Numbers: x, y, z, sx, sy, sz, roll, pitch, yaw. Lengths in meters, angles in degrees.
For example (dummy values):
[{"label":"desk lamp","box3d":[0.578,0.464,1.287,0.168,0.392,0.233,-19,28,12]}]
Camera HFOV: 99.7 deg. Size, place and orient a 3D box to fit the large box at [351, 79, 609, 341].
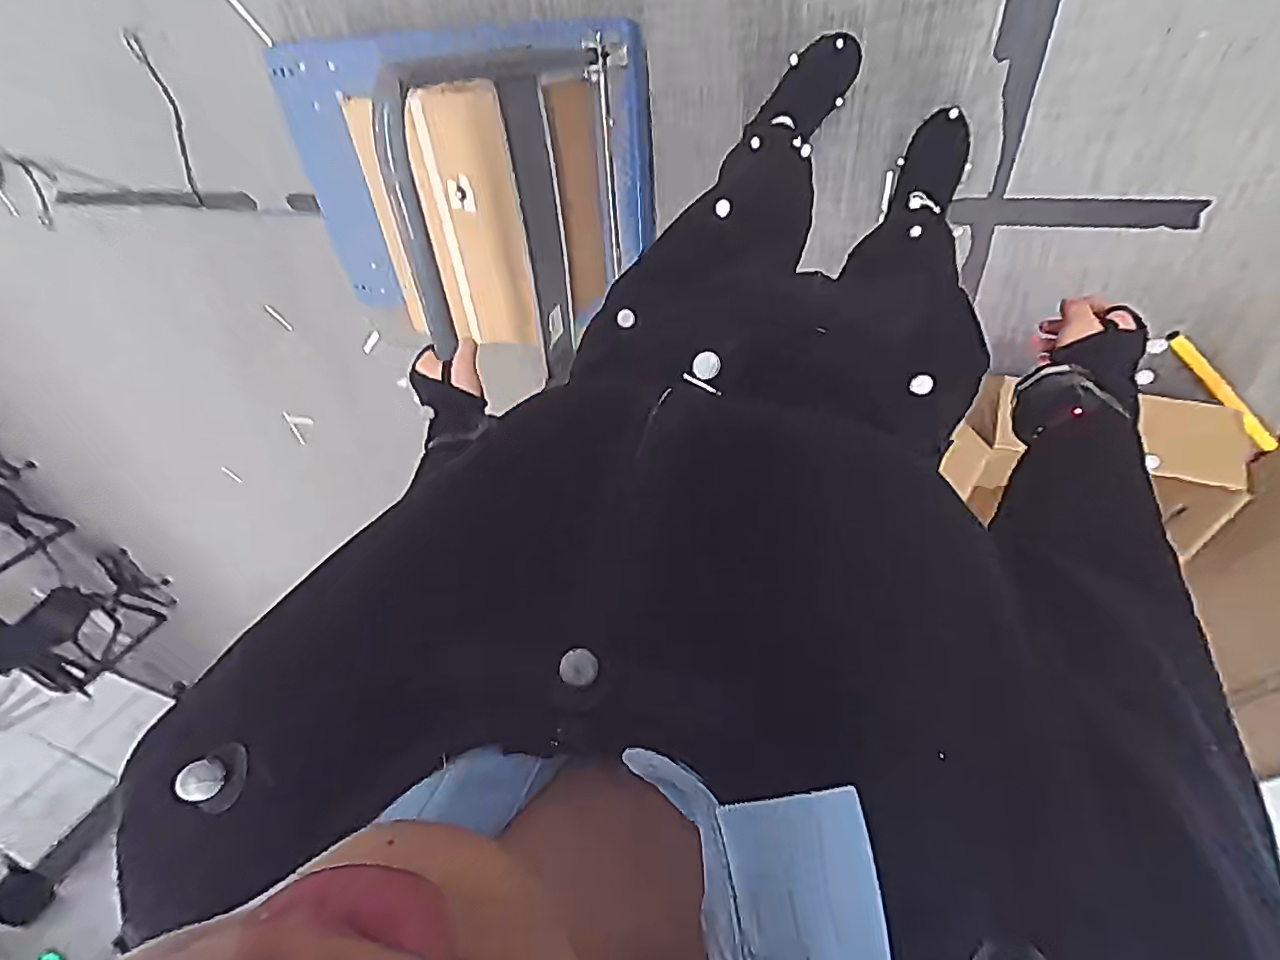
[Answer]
[{"label":"large box","box3d":[-0.273,-0.535,1.073,0.320,0.320,0.408,10,131,16]}]
